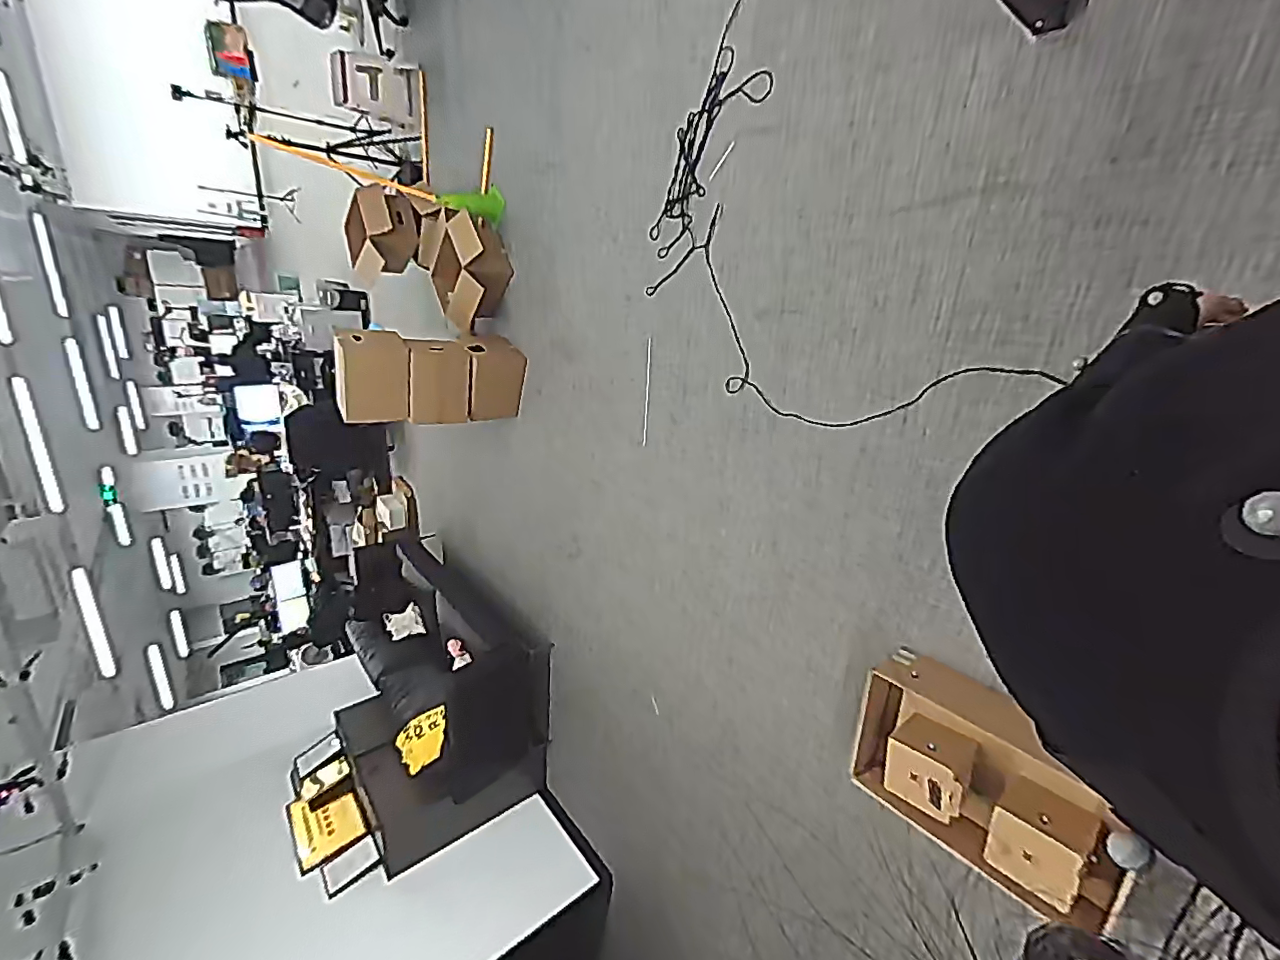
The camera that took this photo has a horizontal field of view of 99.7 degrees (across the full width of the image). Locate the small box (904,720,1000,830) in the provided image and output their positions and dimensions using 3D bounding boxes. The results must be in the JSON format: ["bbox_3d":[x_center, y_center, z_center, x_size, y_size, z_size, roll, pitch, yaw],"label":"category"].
[{"bbox_3d":[0.854,0.793,1.478,0.179,0.176,0.168,14,109,51],"label":"small box"}]

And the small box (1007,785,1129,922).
[{"bbox_3d":[1.016,0.870,1.282,0.179,0.176,0.168,19,112,51],"label":"small box"}]
